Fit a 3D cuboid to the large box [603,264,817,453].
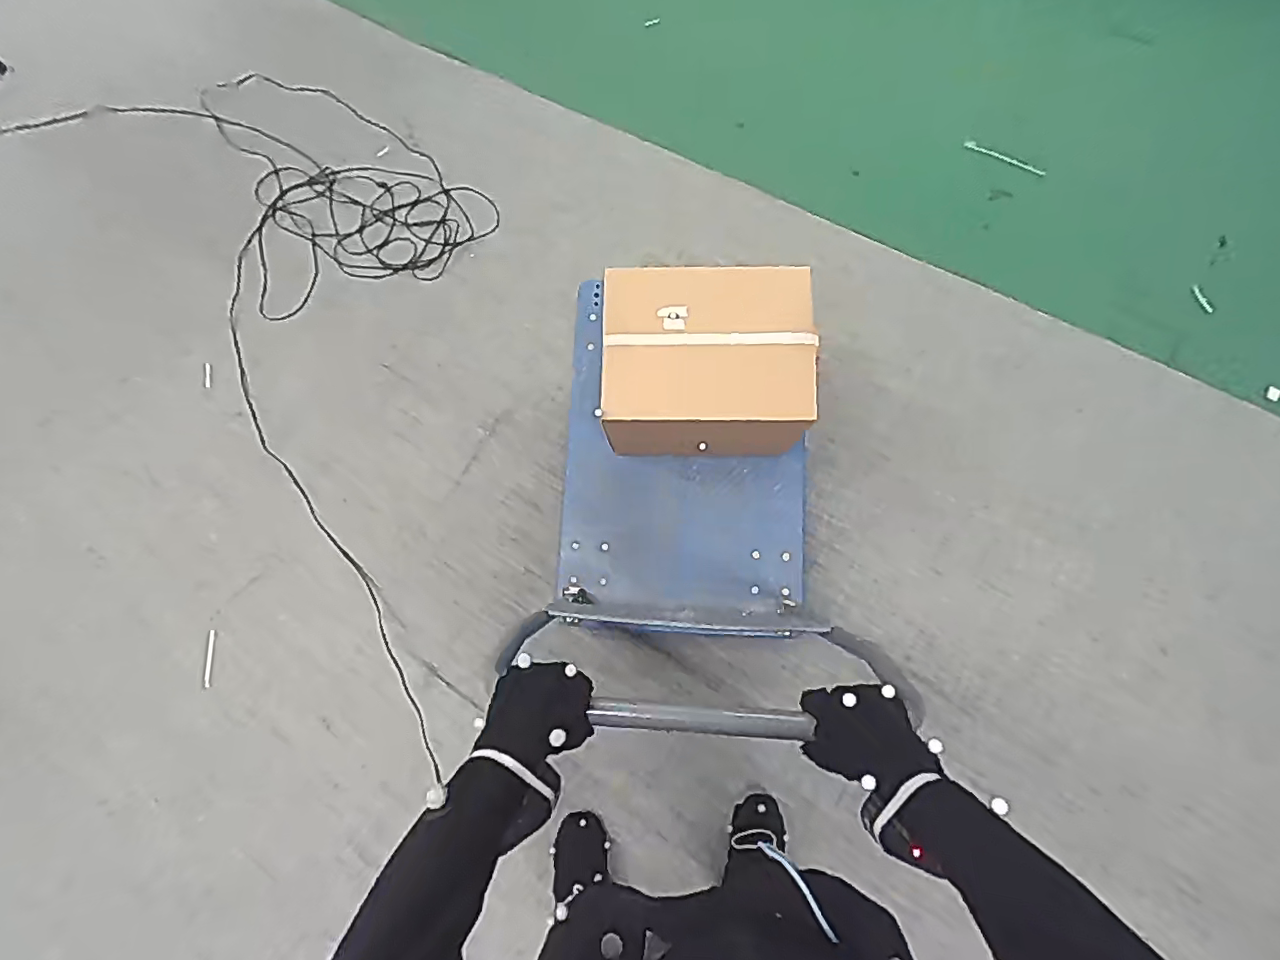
[{"bbox_3d":[0.138,-0.238,1.176,0.408,0.320,0.320,-1,80,4],"label":"large box"}]
